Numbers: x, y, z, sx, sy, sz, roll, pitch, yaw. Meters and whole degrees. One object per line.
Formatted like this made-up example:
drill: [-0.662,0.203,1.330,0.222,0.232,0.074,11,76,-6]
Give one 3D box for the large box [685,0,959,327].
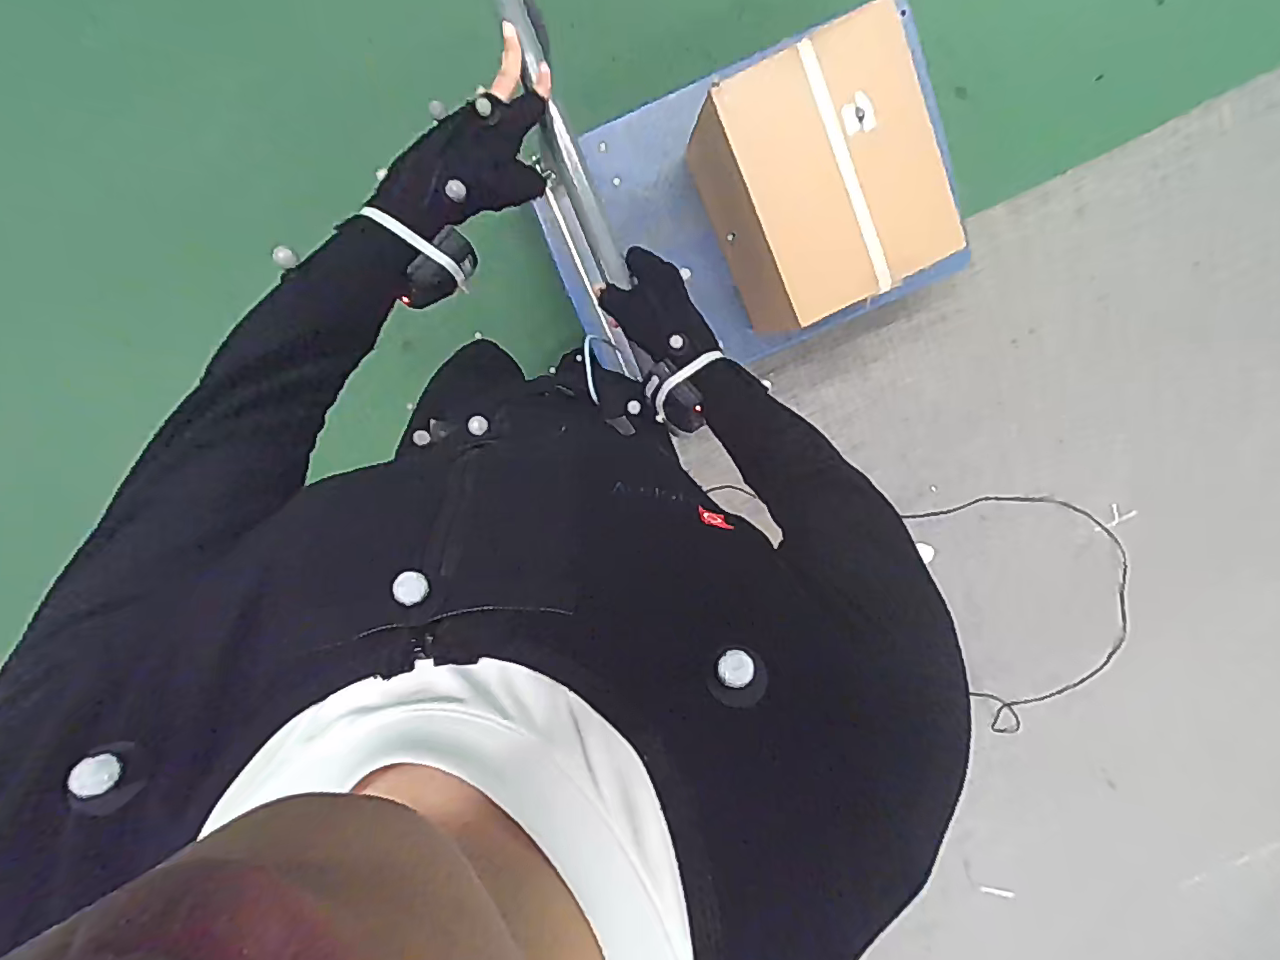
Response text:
large box: [0.320,-0.549,1.035,0.320,0.320,0.408,-26,103,2]
